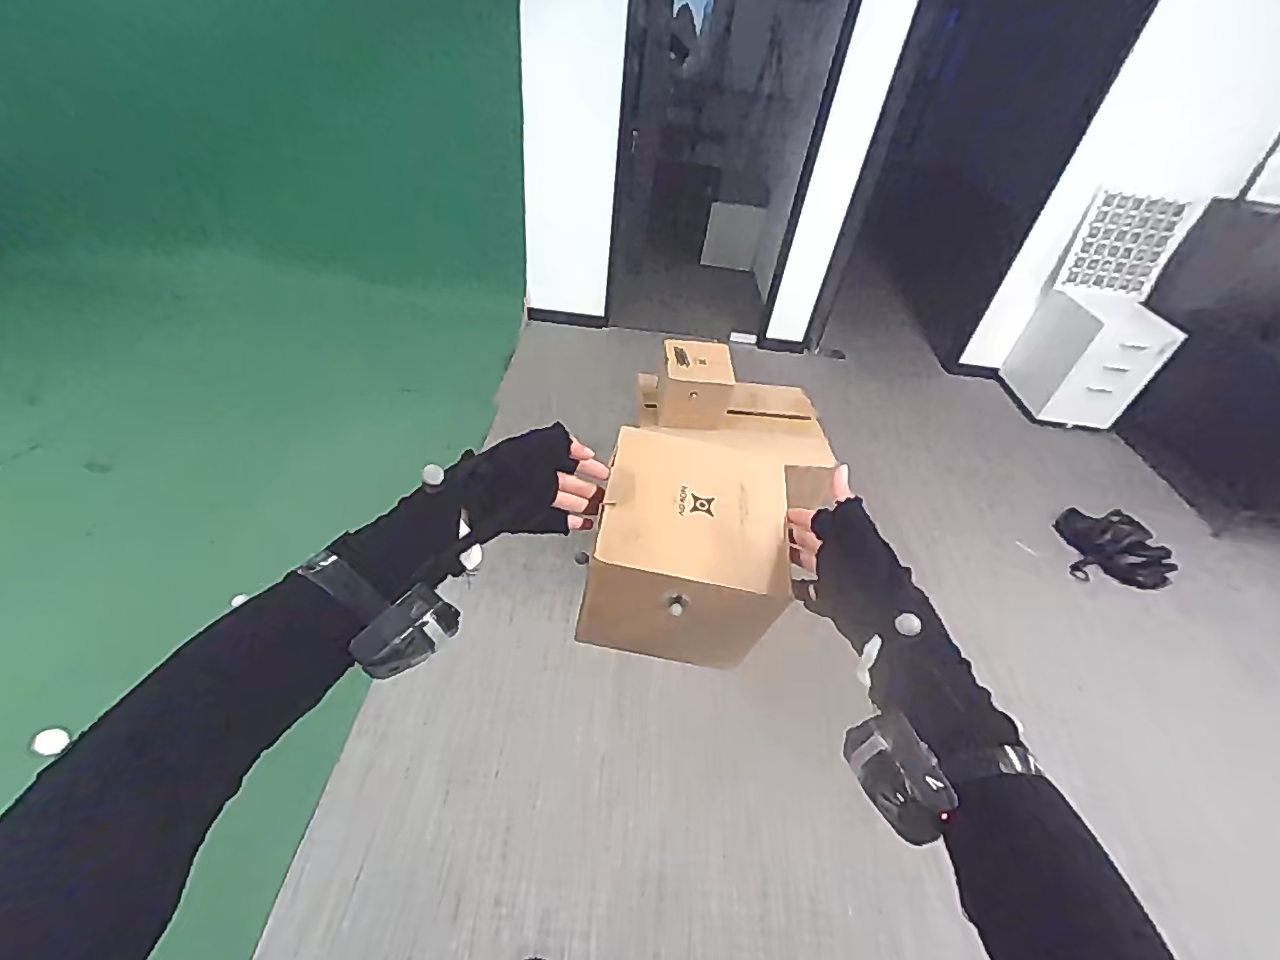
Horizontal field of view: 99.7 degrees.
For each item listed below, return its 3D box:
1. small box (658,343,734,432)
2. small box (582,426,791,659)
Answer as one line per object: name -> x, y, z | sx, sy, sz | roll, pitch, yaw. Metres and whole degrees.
small box -> 0.143, -0.248, 1.469 | 0.179, 0.176, 0.168 | 4, 50, -7
small box -> 0.041, 0.072, 0.573 | 0.179, 0.176, 0.168 | 12, 50, -5
